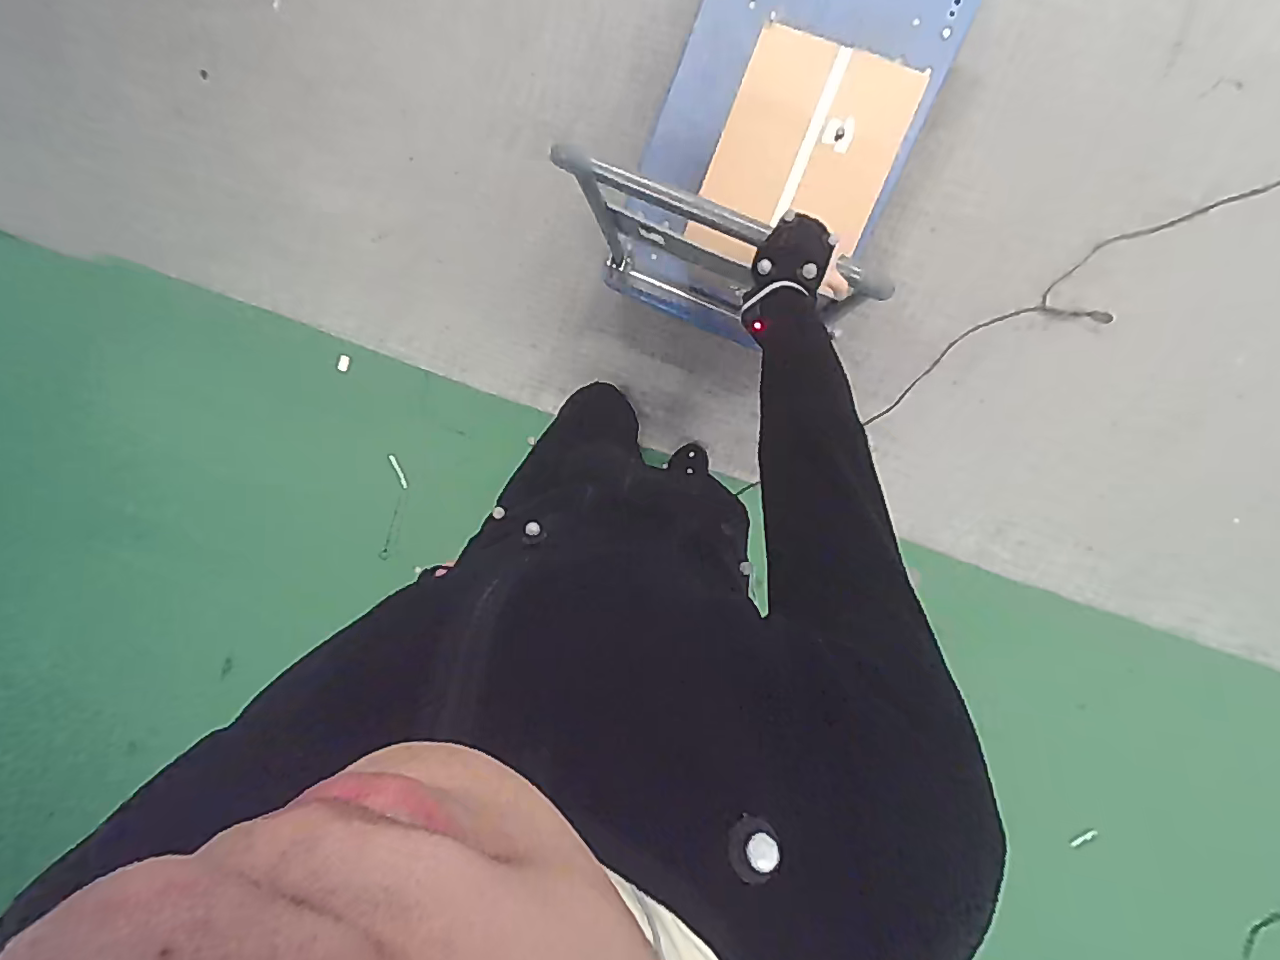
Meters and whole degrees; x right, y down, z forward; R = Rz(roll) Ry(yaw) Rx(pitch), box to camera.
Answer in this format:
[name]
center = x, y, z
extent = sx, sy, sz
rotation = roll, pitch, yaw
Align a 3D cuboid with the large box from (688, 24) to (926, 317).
[large box]
center = 0.317, -0.607, 1.144
extent = 0.320, 0.320, 0.408
rotation = 22, 101, 2
